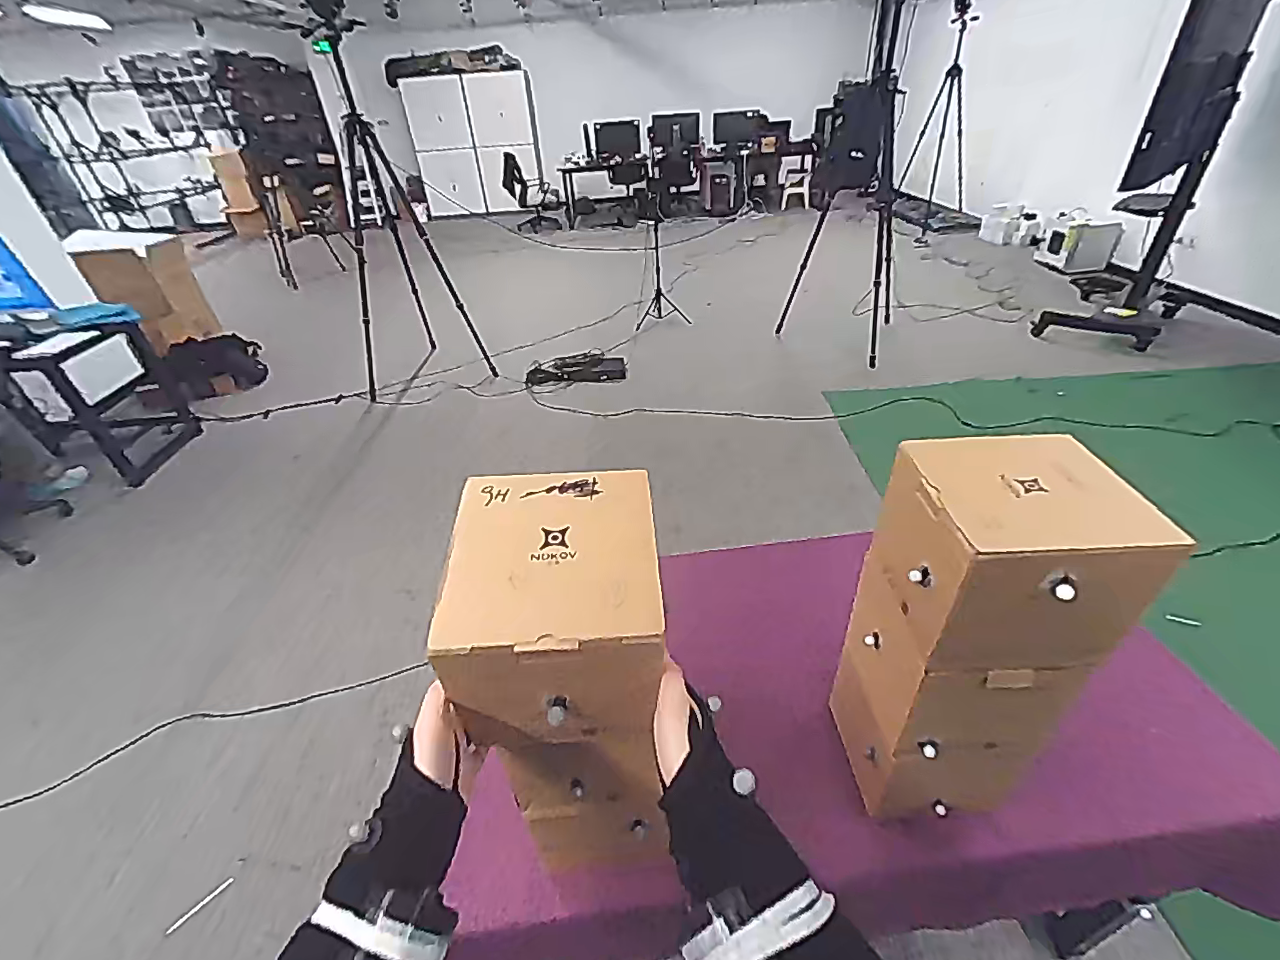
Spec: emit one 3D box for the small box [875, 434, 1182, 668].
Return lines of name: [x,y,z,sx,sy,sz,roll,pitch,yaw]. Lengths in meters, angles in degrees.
small box: [0.352,0.071,0.541,0.179,0.176,0.168,-2,37,3]

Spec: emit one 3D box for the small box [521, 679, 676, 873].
small box: [-0.045,0.388,0.713,0.179,0.176,0.168,-5,35,0]

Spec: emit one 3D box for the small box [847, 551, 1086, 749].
small box: [0.361,0.199,0.641,0.168,0.176,0.179,-4,35,2]

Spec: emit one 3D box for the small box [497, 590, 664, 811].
small box: [-0.060,0.251,0.627,0.168,0.176,0.179,-5,36,0]

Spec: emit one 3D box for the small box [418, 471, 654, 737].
small box: [-0.074,0.114,0.482,0.168,0.176,0.179,-2,45,-2]
